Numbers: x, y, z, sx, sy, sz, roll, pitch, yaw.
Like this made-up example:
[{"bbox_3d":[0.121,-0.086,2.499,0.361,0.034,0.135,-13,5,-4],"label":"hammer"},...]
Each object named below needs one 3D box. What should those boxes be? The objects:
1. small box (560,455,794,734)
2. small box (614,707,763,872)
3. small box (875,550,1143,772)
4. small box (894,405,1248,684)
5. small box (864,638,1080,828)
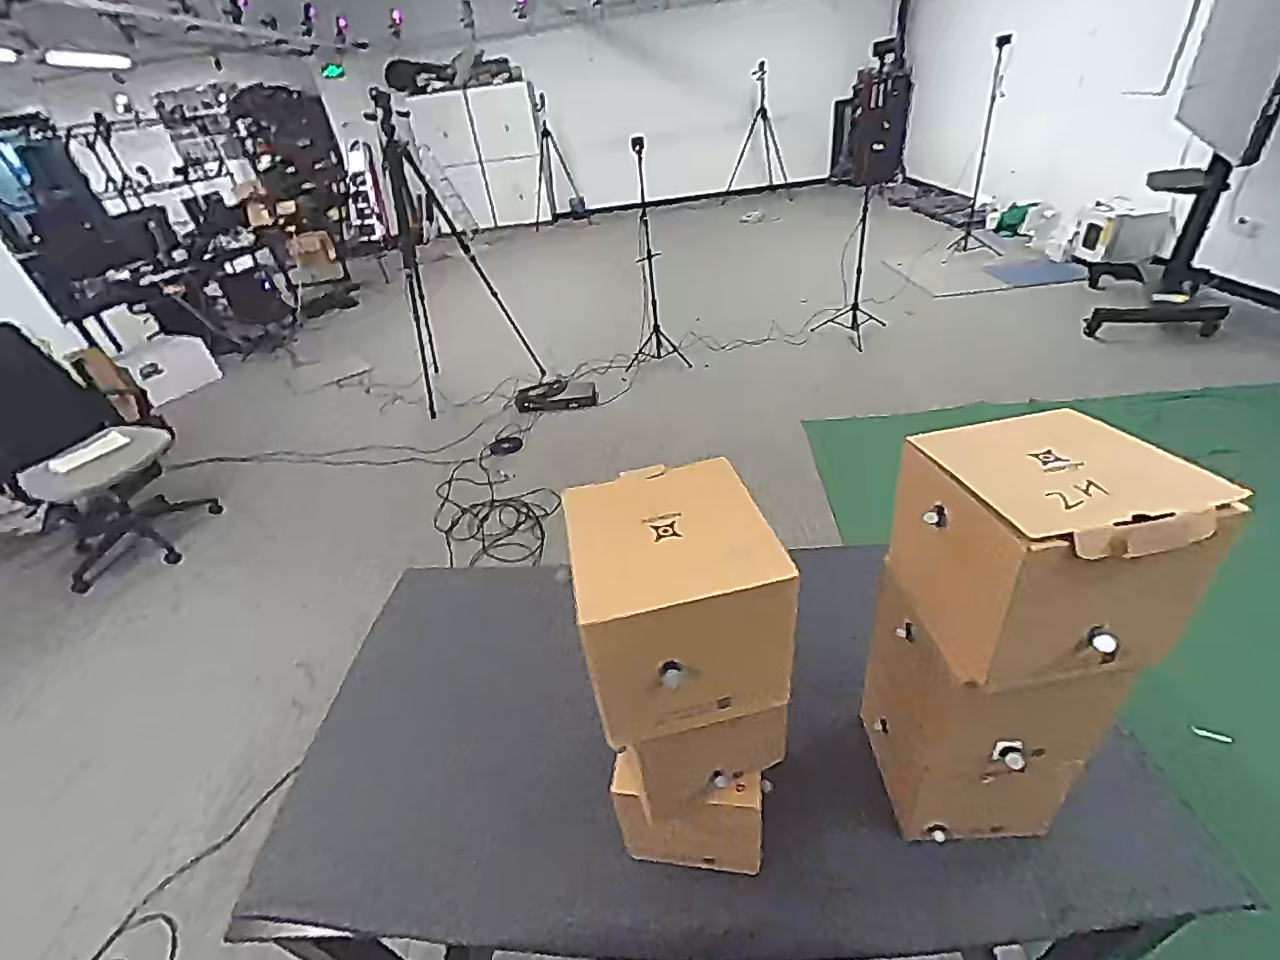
[{"bbox_3d":[0.030,0.106,0.497,0.168,0.176,0.179,-13,35,-6],"label":"small box"},{"bbox_3d":[0.072,0.362,0.697,0.168,0.176,0.179,-1,34,12],"label":"small box"},{"bbox_3d":[0.376,0.185,0.594,0.168,0.176,0.179,-9,34,2],"label":"small box"},{"bbox_3d":[0.356,0.054,0.496,0.168,0.176,0.179,-11,33,0],"label":"small box"},{"bbox_3d":[0.398,0.317,0.687,0.168,0.176,0.179,-6,32,5],"label":"small box"}]
